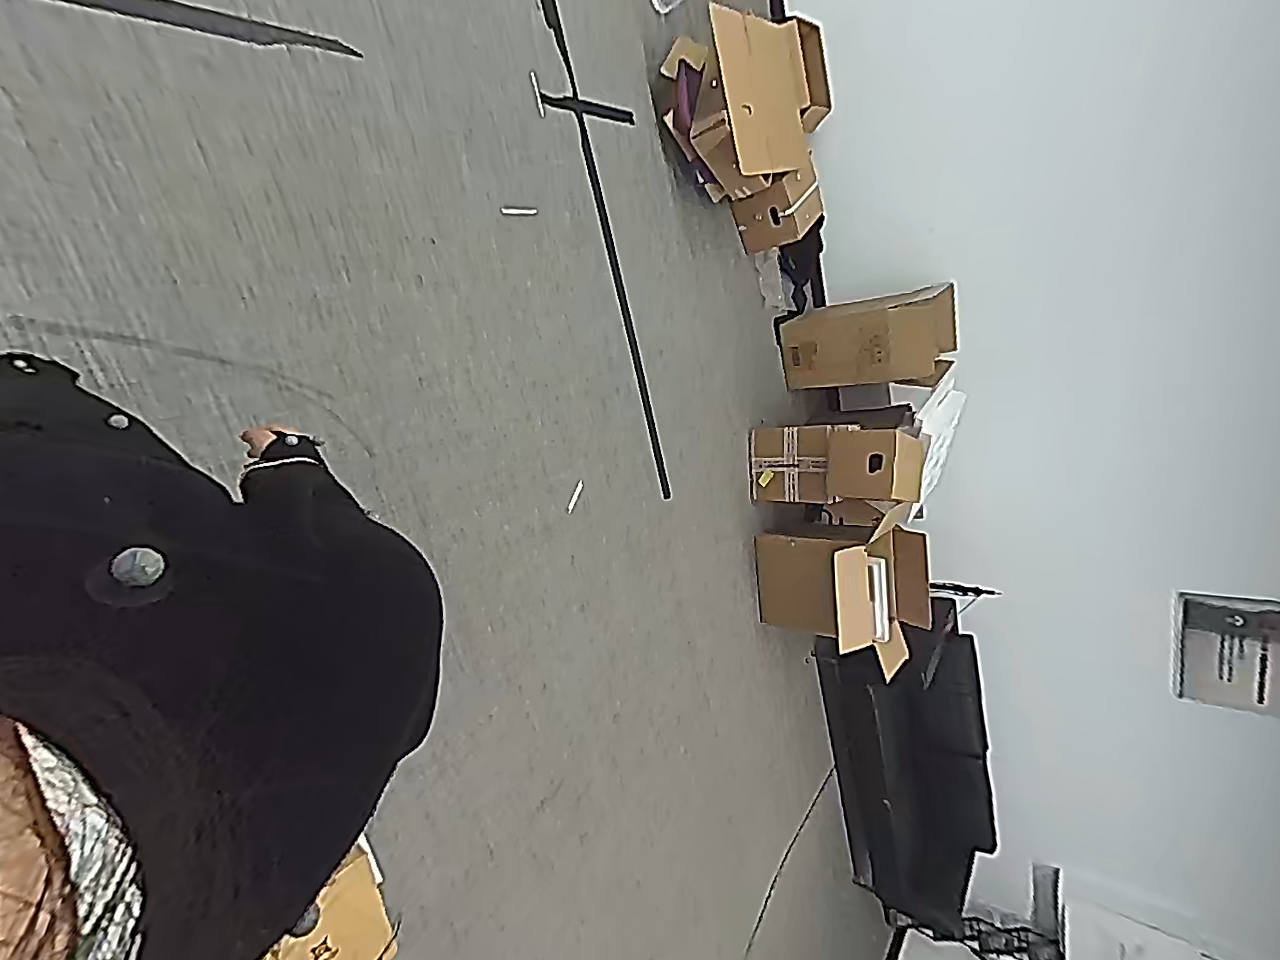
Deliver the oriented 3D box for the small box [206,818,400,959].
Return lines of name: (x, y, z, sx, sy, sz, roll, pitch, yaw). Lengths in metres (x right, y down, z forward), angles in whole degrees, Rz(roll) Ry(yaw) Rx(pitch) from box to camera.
small box: (-0.471, 0.615, 0.757, 0.168, 0.176, 0.179, -22, 106, -46)
